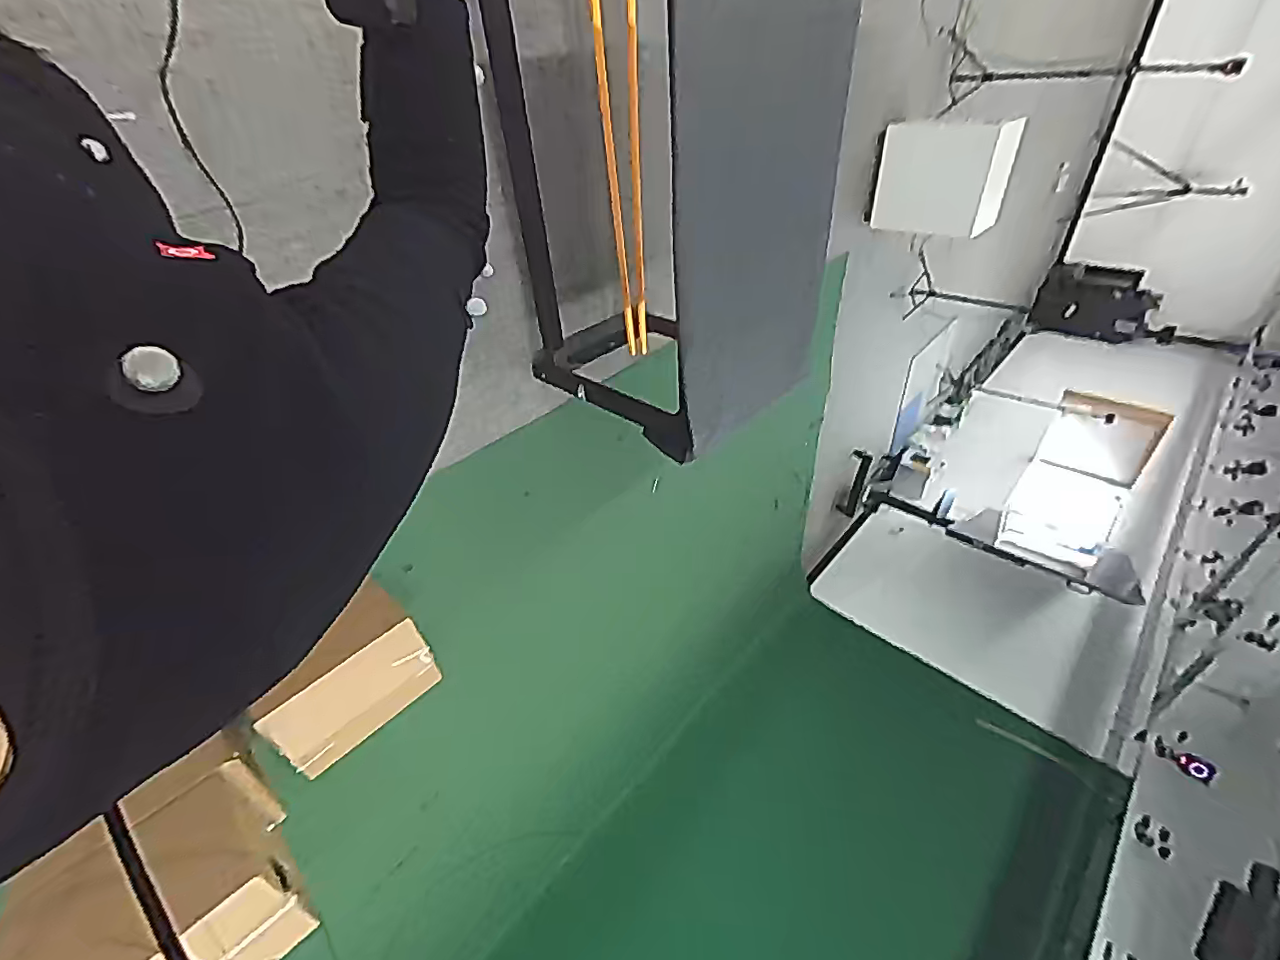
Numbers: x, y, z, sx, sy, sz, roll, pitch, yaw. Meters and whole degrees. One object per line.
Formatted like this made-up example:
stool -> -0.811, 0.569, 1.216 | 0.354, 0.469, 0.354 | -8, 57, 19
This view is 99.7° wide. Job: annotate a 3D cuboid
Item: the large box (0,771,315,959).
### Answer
large box -> -1.004, 0.932, 1.148 | 0.408, 0.320, 0.320 | -33, 134, -33
